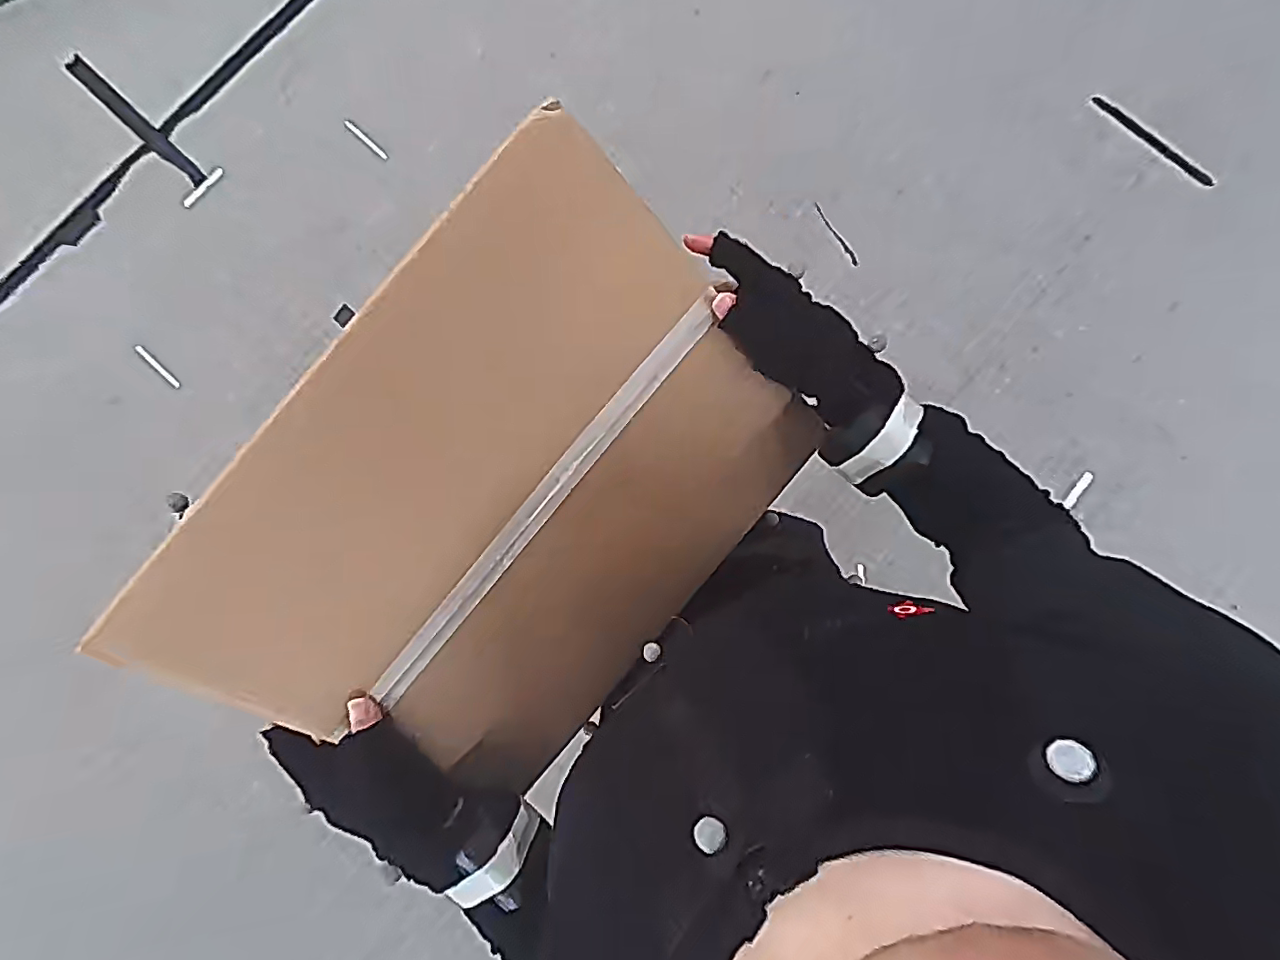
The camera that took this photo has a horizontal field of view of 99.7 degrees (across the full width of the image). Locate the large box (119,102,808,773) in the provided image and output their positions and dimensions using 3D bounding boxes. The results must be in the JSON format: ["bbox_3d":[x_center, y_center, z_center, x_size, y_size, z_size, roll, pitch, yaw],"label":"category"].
[{"bbox_3d":[-0.138,-0.030,0.518,0.320,0.320,0.408,40,90,-30],"label":"large box"}]
